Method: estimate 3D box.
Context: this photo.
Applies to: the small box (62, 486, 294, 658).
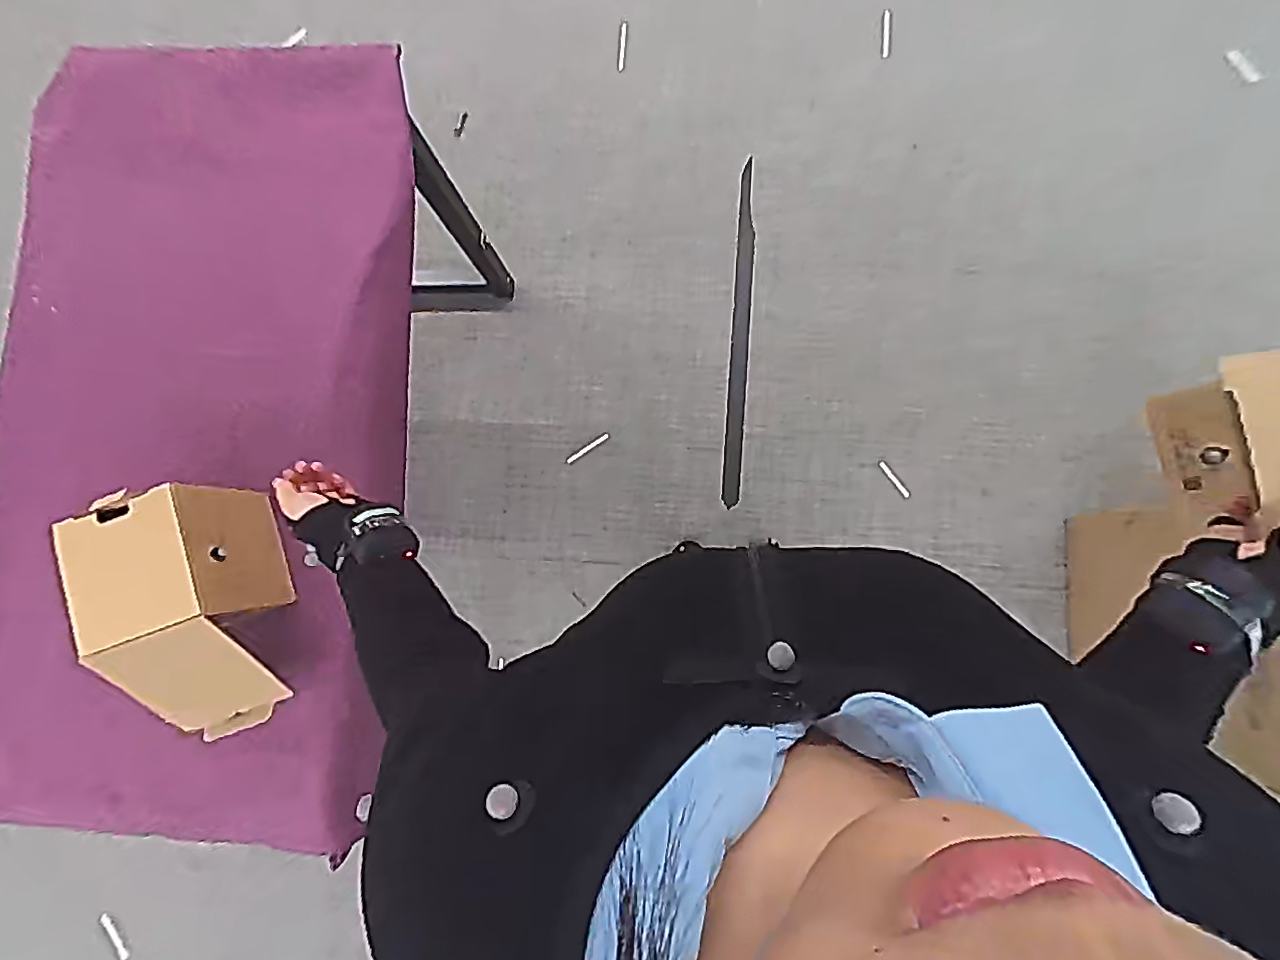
[{"bbox_3d":[-0.622,0.122,0.750,0.168,0.176,0.179,-20,82,1],"label":"small box"}]
